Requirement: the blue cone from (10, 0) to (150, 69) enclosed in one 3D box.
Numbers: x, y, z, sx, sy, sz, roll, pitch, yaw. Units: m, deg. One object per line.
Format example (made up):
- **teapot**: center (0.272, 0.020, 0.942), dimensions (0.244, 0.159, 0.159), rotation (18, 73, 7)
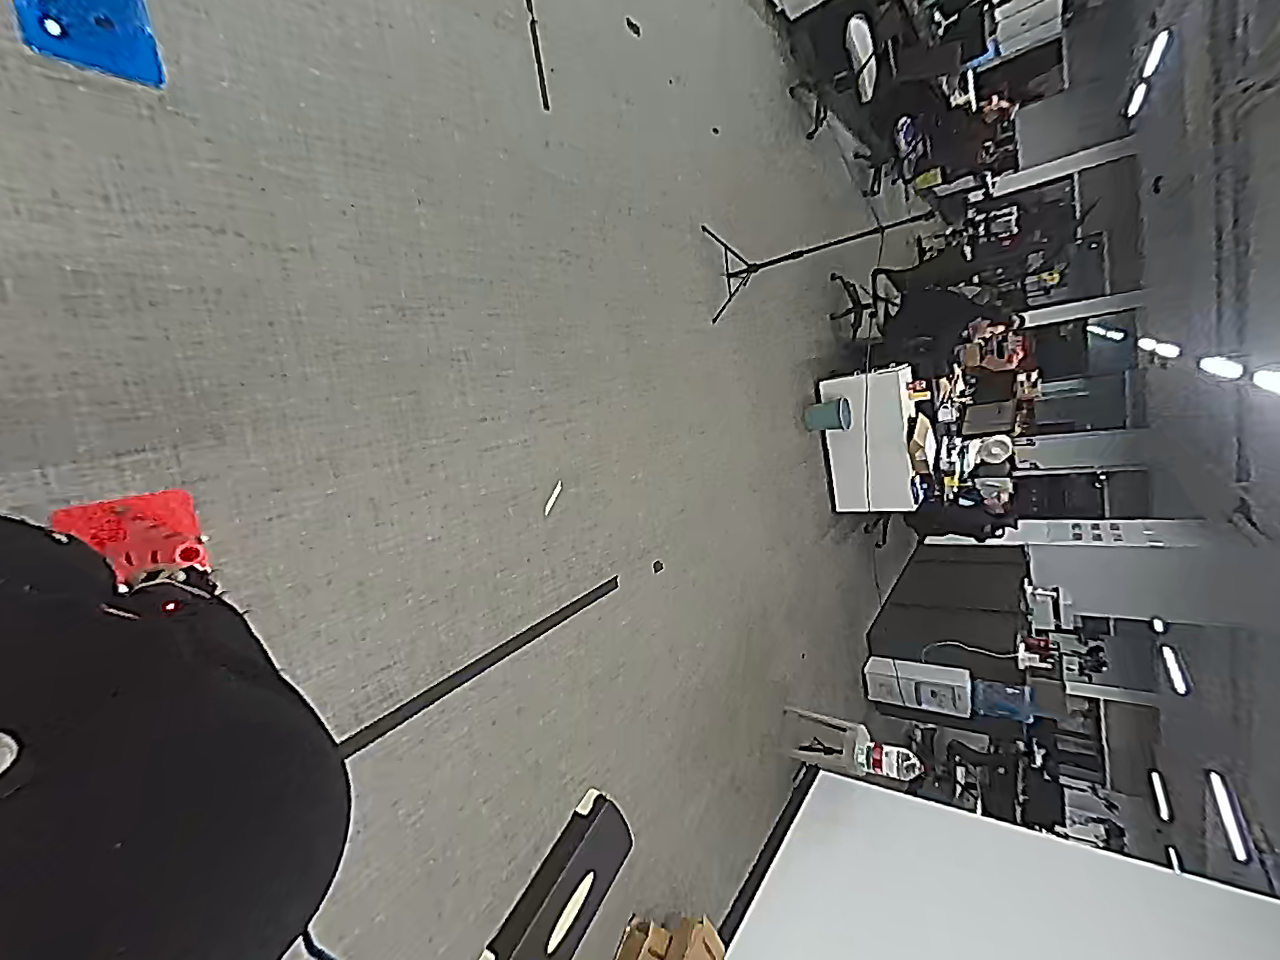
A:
- **blue cone**: center (-0.932, -0.907, 0.921), dimensions (0.193, 0.380, 0.192), rotation (-16, 99, -52)
